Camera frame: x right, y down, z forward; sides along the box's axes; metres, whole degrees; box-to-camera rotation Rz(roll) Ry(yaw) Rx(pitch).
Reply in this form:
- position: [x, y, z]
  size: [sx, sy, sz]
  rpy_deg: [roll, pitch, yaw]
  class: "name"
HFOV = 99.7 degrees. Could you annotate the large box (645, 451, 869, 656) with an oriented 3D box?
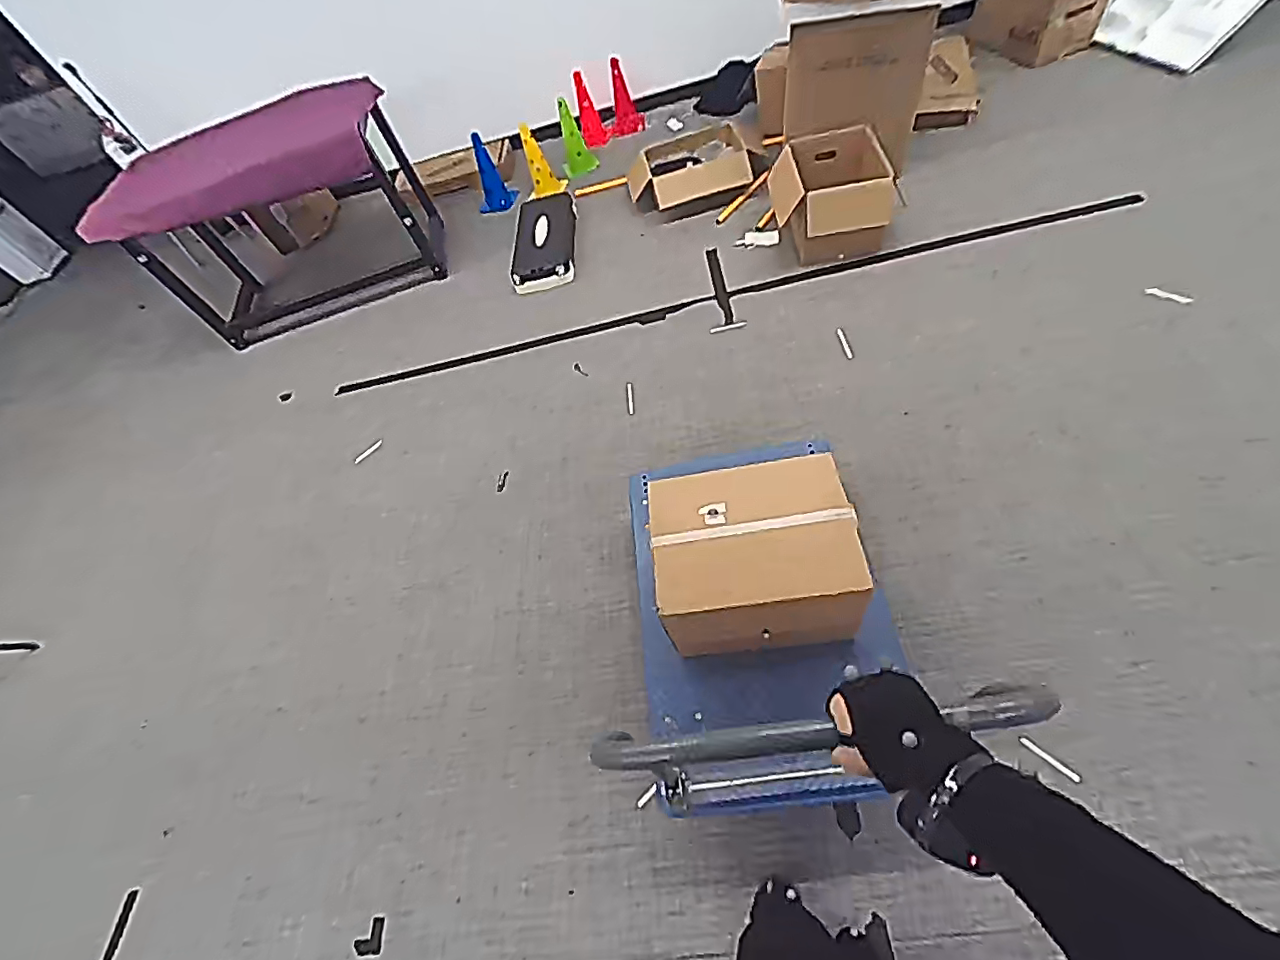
- position: [0.248, 0.179, 1.208]
  size: [0.408, 0.320, 0.320]
  rpy_deg: [-10, 55, 9]
  class: "large box"
